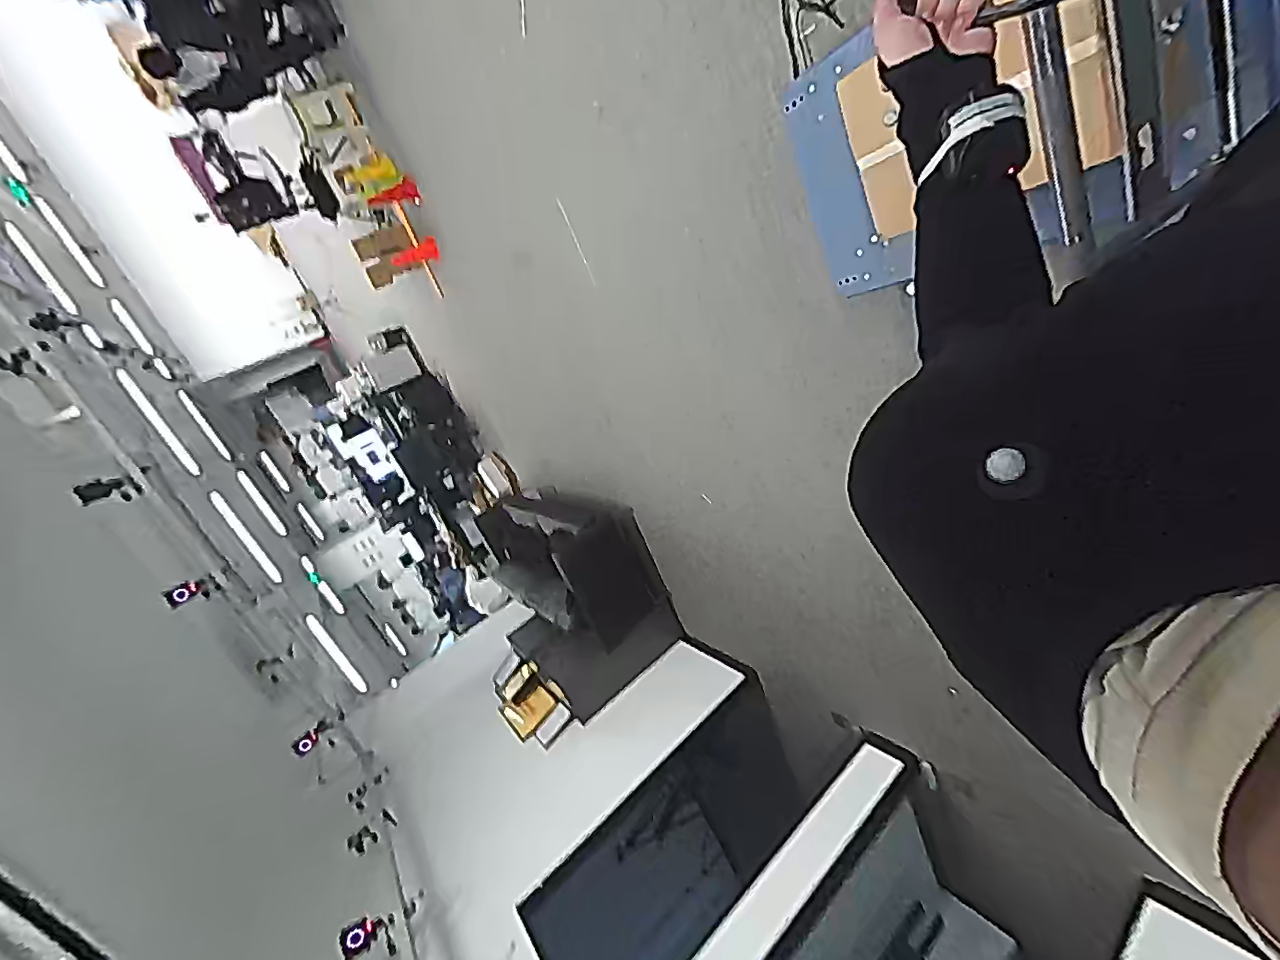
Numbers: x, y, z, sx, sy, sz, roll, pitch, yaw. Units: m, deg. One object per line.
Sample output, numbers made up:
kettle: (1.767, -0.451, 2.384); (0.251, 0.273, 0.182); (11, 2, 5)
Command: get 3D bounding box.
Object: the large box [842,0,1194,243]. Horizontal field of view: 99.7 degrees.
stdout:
large box: (0.663, -0.691, 0.977); (0.408, 0.320, 0.320); (6, 124, 59)
